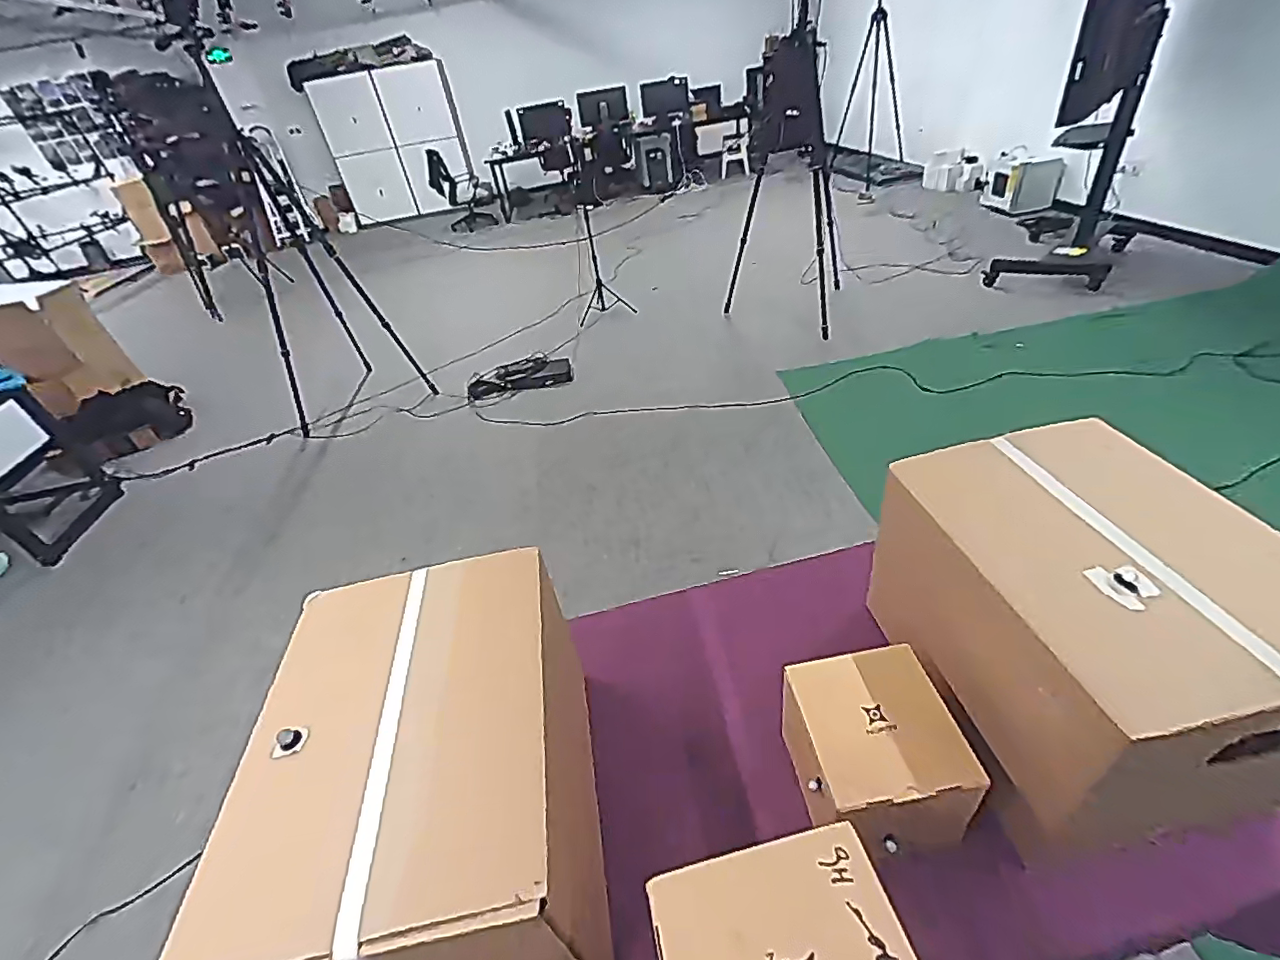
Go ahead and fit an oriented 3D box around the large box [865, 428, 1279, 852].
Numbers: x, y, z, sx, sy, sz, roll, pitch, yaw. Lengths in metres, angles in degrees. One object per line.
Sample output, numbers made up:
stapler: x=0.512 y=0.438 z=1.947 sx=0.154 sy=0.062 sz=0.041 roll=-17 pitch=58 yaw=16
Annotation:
large box: x=0.552 y=0.185 z=0.712 sx=0.320 sy=0.320 sz=0.408 roll=-12 pitch=39 yaw=-2
